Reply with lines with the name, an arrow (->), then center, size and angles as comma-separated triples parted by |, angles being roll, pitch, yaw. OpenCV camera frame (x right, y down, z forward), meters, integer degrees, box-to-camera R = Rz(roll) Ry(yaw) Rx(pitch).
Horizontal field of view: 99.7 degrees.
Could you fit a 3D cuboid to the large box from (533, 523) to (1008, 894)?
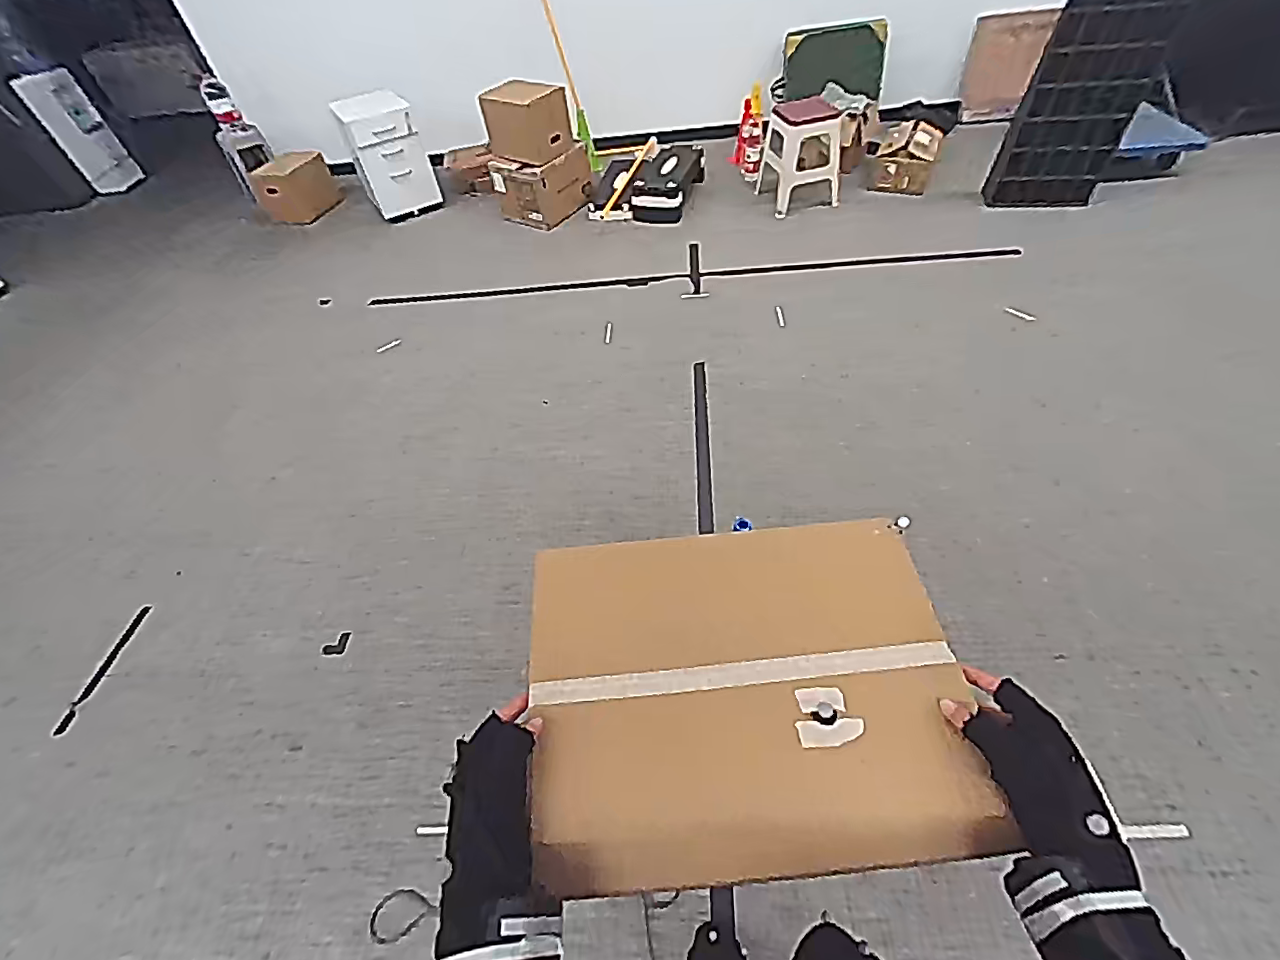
large box -> 0.102, 0.281, 0.648 | 0.408, 0.320, 0.320 | -6, 53, 0
